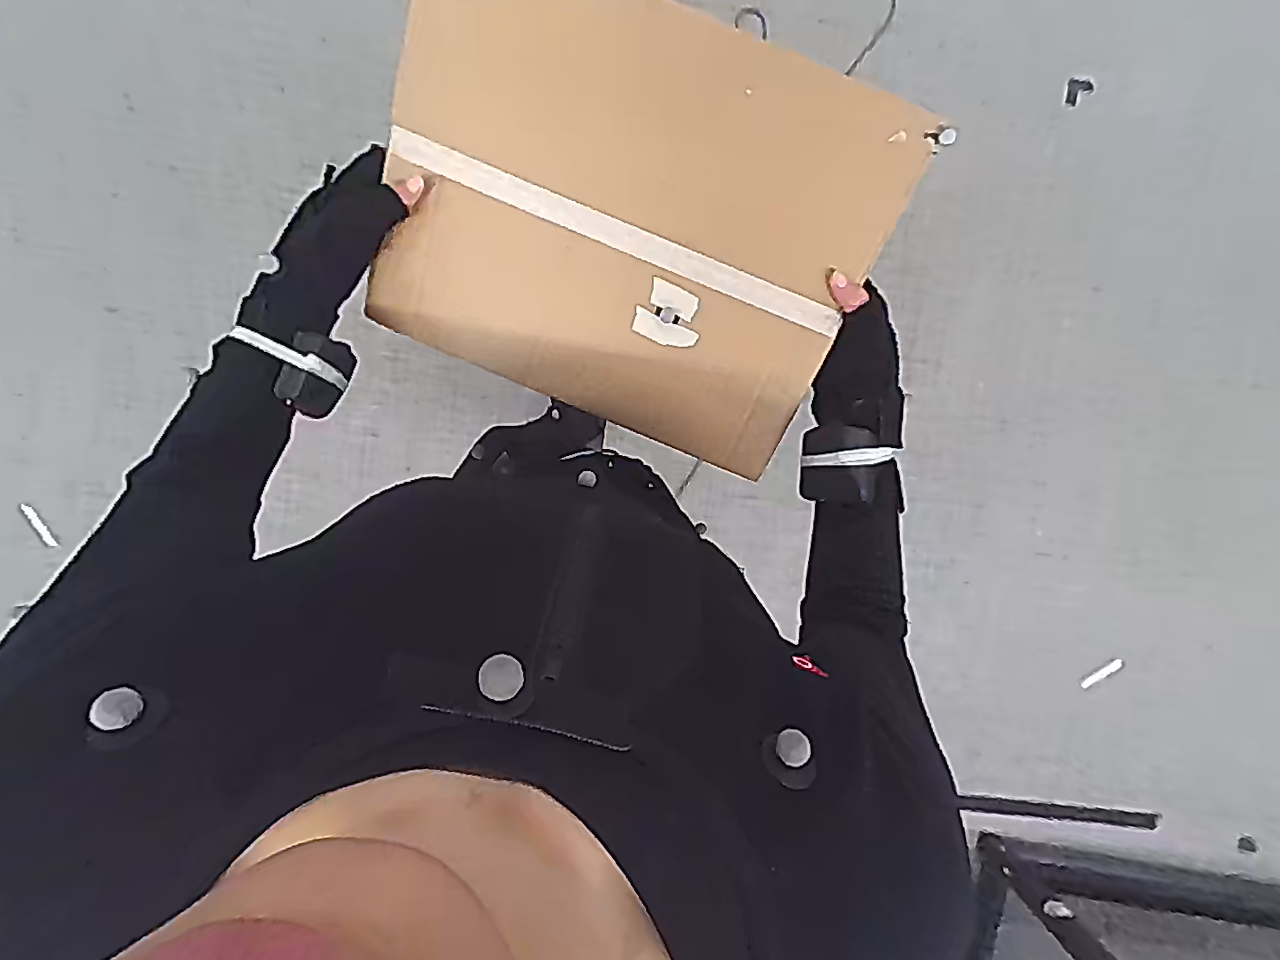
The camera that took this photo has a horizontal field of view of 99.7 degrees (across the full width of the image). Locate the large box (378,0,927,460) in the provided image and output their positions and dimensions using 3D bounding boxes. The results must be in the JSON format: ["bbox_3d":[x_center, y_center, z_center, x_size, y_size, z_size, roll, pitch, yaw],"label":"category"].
[{"bbox_3d":[-0.001,-0.273,0.598,0.408,0.320,0.320,22,115,-2],"label":"large box"}]
